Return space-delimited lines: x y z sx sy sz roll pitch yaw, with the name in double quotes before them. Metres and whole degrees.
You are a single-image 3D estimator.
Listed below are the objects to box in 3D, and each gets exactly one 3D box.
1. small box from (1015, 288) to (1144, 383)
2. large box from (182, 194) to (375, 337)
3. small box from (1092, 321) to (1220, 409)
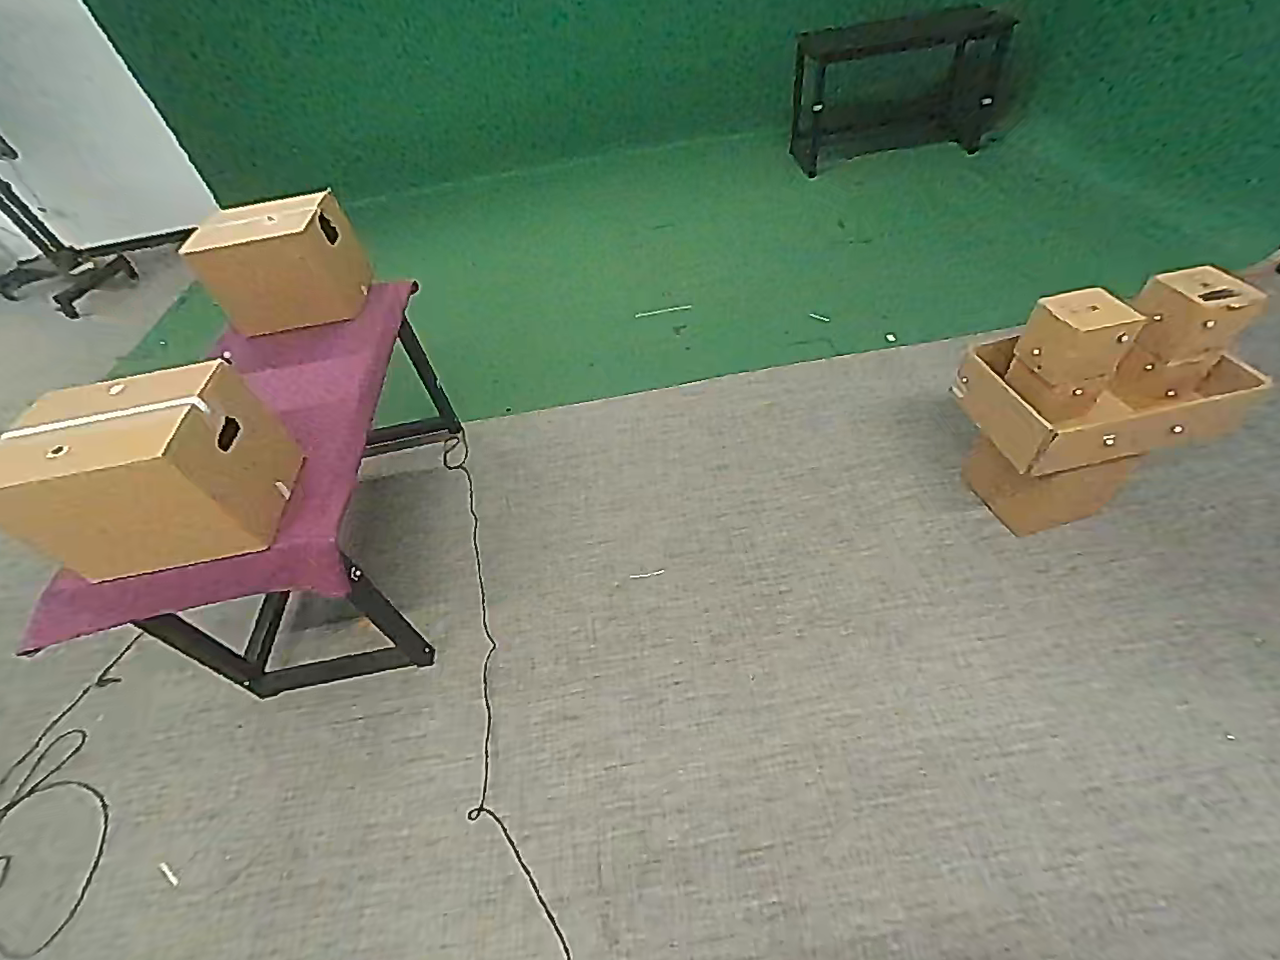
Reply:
"small box" 1.159 -0.384 1.444 0.179 0.176 0.168 -12 47 -2
"large box" -1.201 -0.729 1.849 0.408 0.320 0.320 -9 50 1
"small box" 1.487 -0.334 1.575 0.168 0.176 0.179 -14 49 -5
